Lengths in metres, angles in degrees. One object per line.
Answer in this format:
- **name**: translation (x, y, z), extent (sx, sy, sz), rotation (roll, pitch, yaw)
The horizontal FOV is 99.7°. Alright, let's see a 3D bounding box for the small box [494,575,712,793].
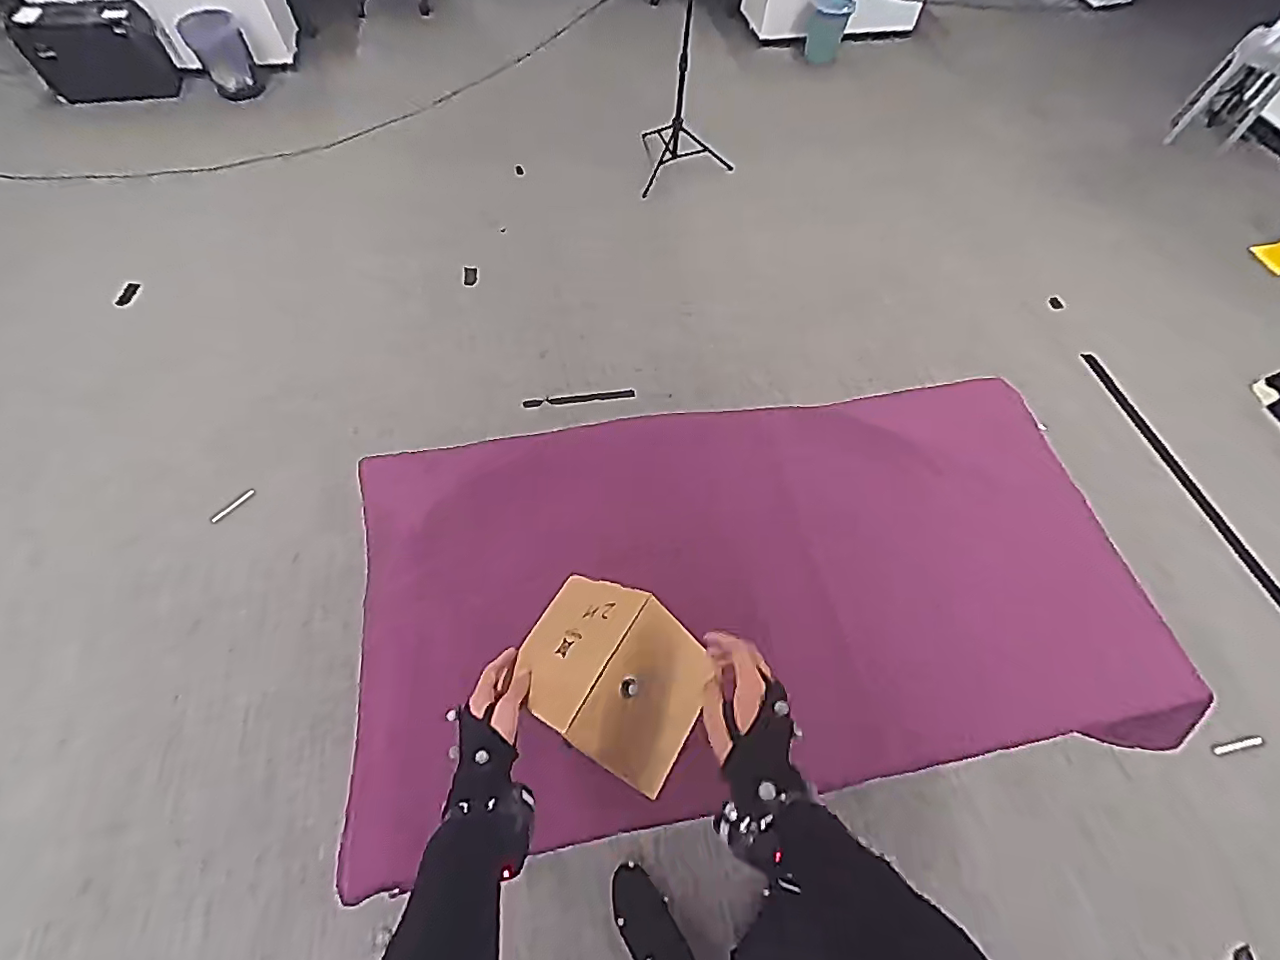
- **small box**: translation (-0.039, 0.247, 0.673), extent (0.168, 0.176, 0.179), rotation (1, 48, 50)
